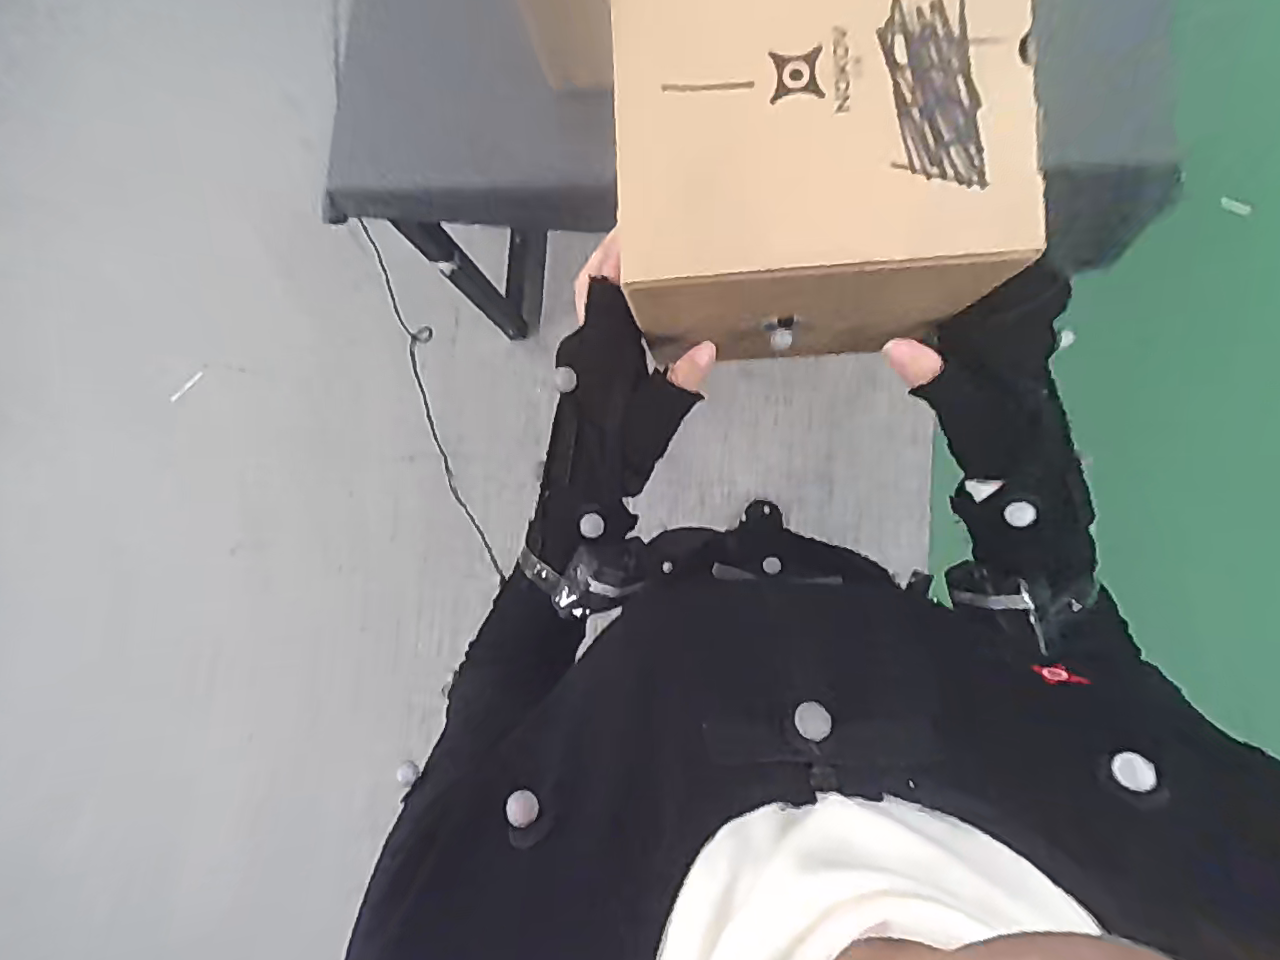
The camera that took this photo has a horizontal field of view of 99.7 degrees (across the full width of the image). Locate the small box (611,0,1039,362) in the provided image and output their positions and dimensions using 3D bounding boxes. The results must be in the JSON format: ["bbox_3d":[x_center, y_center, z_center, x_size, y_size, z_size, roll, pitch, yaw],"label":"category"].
[{"bbox_3d":[0.083,-0.172,0.314,0.179,0.176,0.168,-5,90,5],"label":"small box"}]
